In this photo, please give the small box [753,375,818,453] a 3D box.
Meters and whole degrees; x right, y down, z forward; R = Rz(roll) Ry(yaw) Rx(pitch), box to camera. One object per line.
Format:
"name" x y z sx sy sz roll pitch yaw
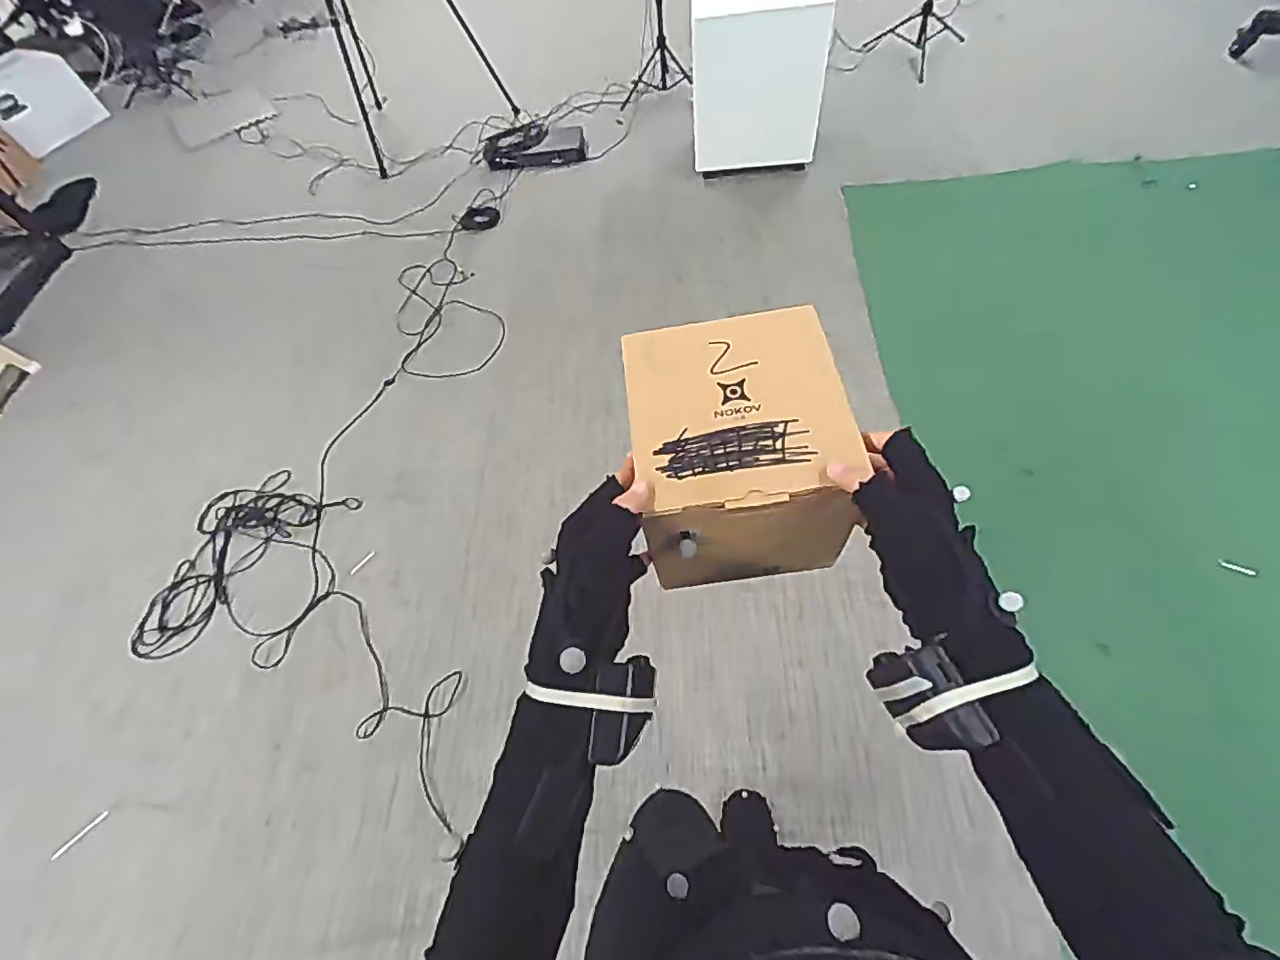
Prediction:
"small box" 0.443 -0.202 1.675 0.168 0.176 0.179 -2 59 7
